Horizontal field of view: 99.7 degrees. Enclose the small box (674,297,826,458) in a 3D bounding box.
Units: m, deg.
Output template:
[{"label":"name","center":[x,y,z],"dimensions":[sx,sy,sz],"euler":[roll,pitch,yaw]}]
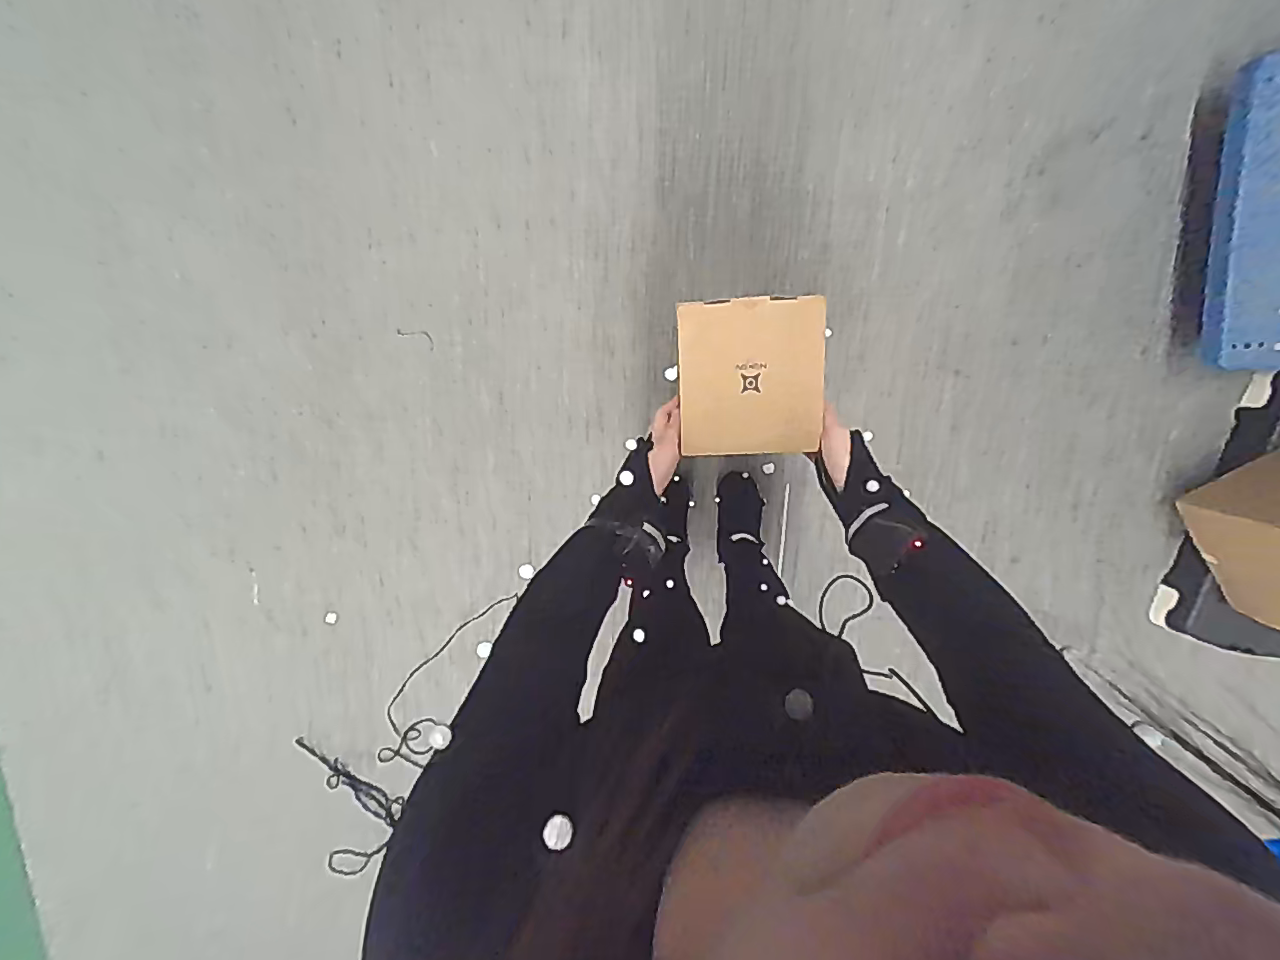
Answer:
[{"label":"small box","center":[0.129,-0.129,0.685],"dimensions":[0.168,0.176,0.179],"euler":[-2,101,5]}]
